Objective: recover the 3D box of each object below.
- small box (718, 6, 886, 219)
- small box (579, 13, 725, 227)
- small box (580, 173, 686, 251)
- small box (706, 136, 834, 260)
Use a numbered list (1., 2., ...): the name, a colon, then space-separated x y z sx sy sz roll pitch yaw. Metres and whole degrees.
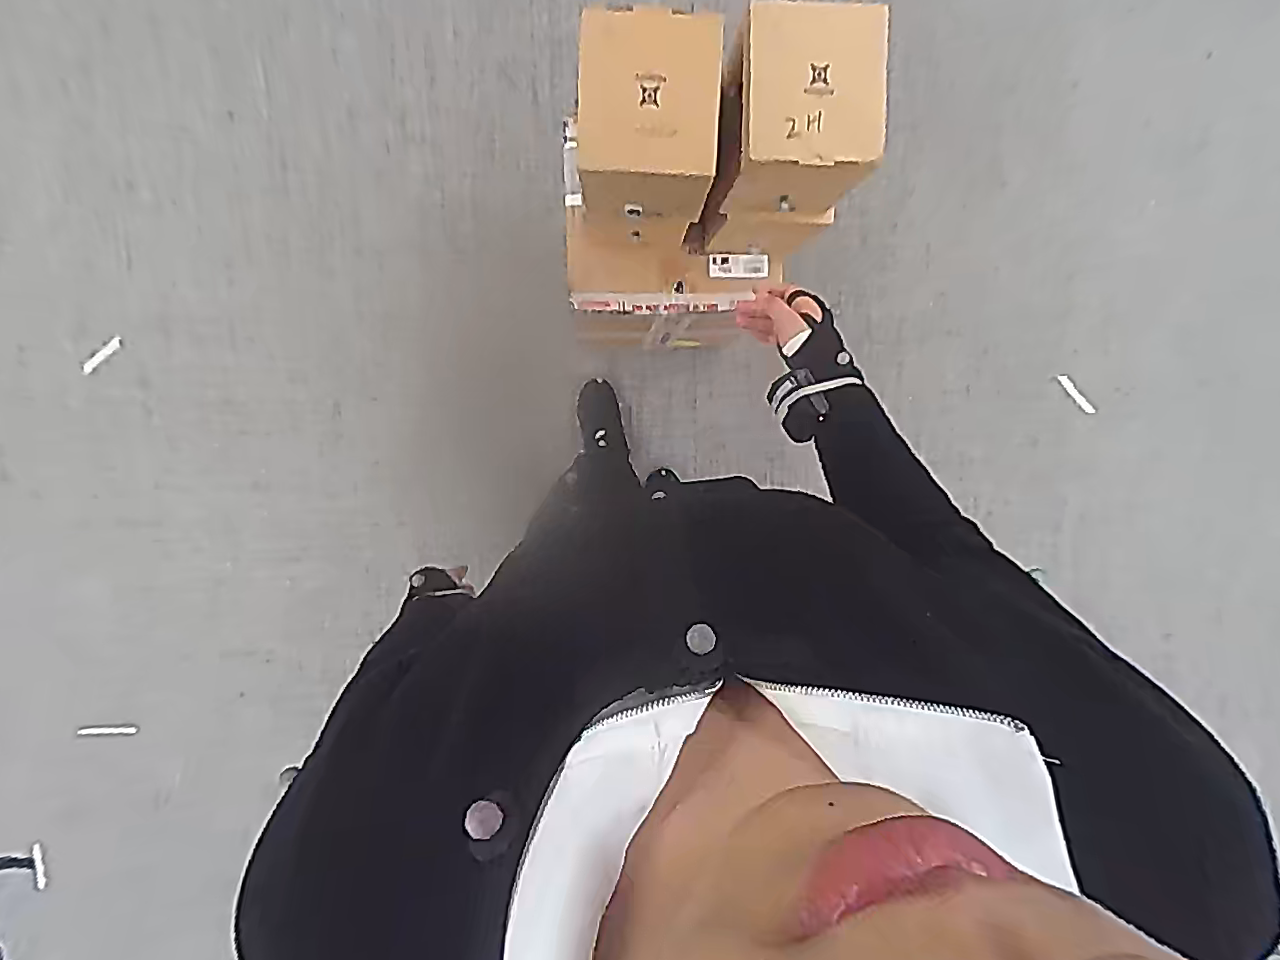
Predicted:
1. small box: 0.200 -0.466 0.711 0.168 0.176 0.179 -2 97 -4
2. small box: 0.011 -0.451 0.702 0.168 0.176 0.179 2 98 0
3. small box: -0.005 -0.478 0.864 0.168 0.176 0.179 2 98 -2
4. small box: 0.204 -0.474 0.877 0.168 0.176 0.179 1 98 -4
